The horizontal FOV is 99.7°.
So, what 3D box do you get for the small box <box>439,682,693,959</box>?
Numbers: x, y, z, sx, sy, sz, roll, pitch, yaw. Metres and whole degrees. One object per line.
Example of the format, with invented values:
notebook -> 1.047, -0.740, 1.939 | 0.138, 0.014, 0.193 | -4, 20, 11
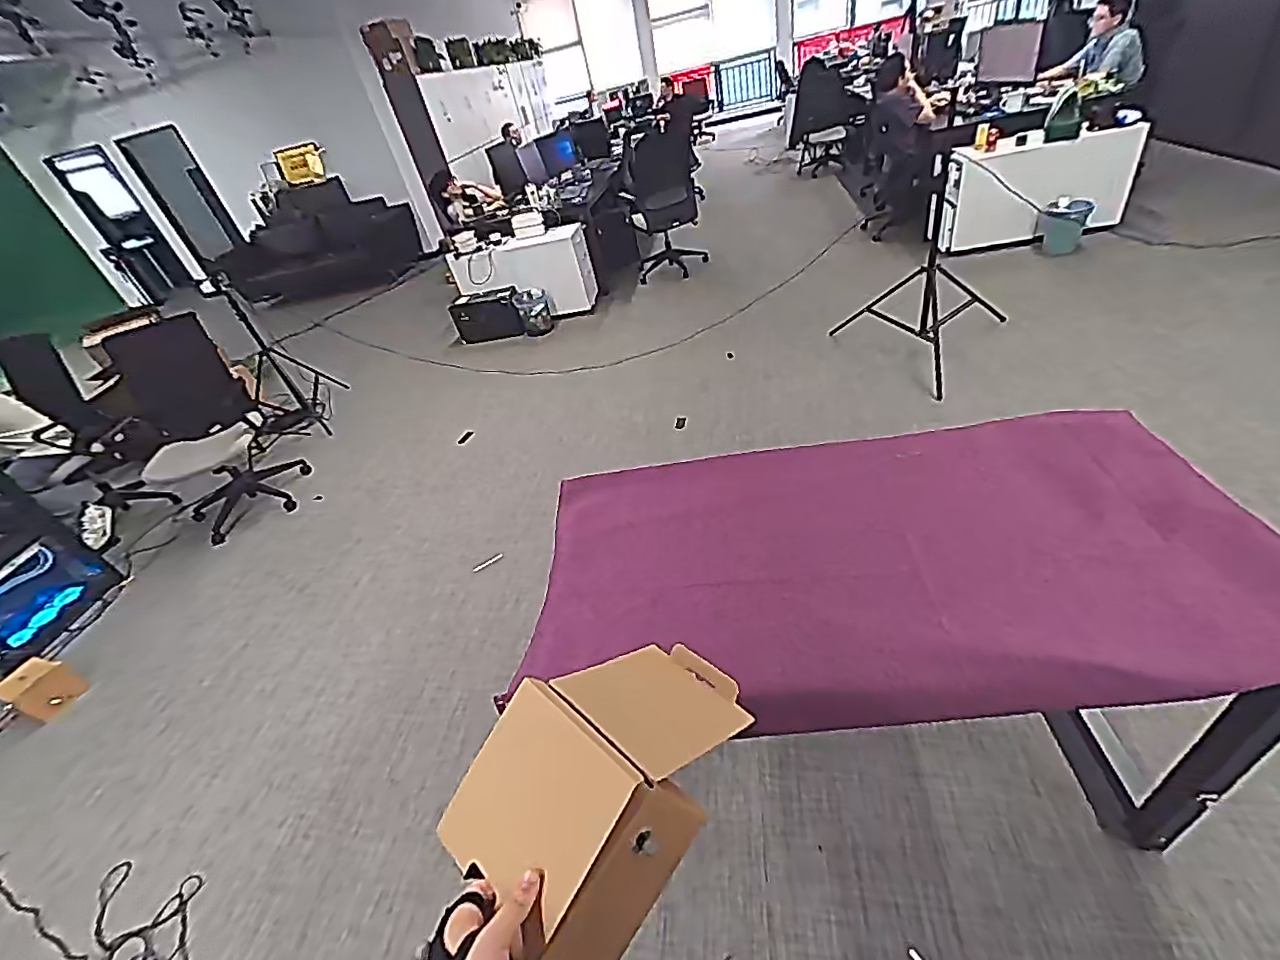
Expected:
small box -> -0.064, 0.356, 0.568 | 0.168, 0.176, 0.179 | 25, 67, 41
